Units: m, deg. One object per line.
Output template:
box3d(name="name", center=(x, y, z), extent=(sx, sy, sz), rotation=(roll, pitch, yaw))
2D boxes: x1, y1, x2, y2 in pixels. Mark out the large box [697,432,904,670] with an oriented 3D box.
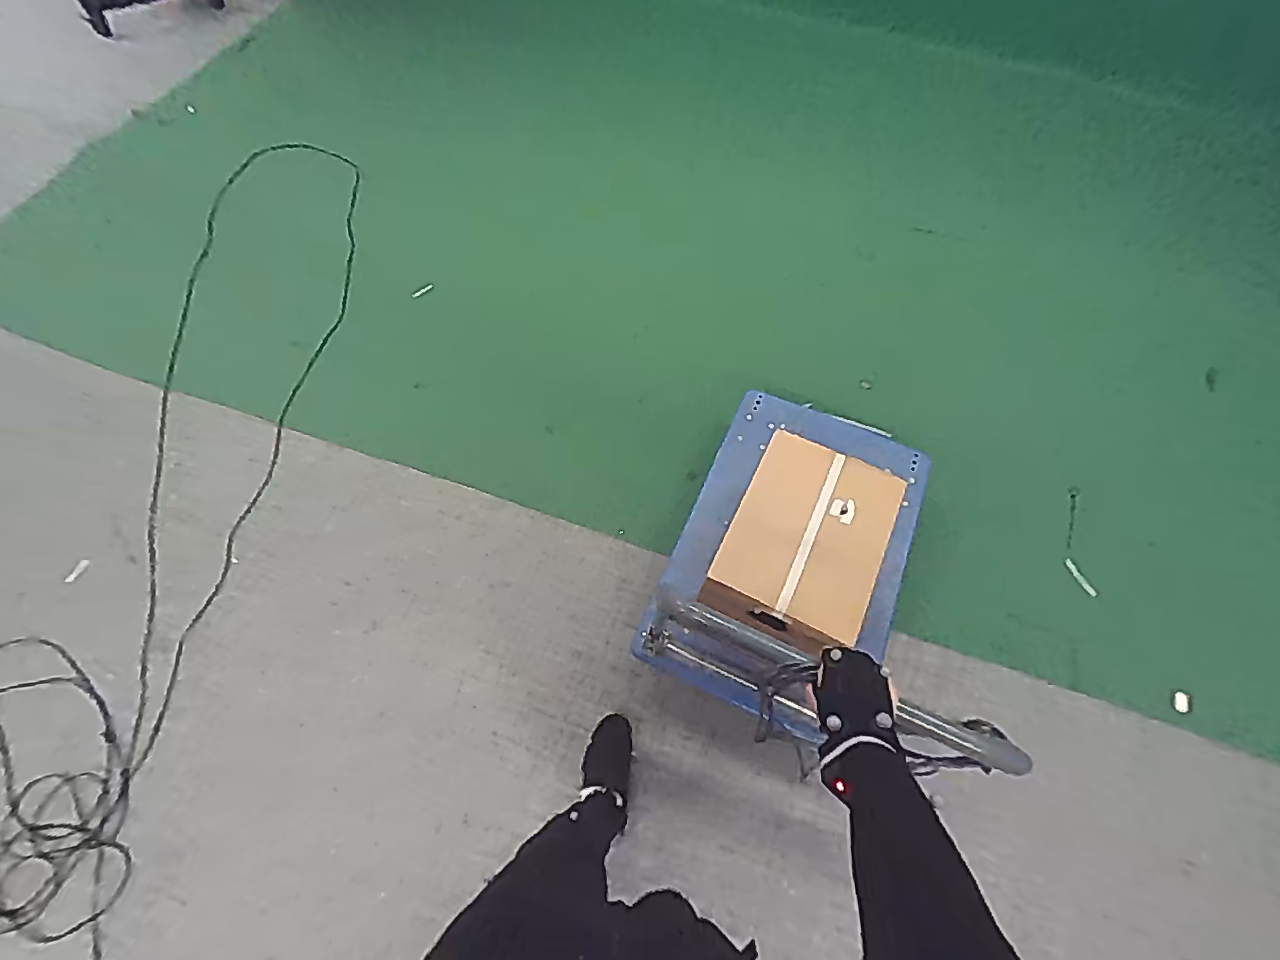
box3d(name="large box", center=(0.359, 0.173, 1.267), extent=(0.320, 0.320, 0.408), rotation=(25, 65, 10))
